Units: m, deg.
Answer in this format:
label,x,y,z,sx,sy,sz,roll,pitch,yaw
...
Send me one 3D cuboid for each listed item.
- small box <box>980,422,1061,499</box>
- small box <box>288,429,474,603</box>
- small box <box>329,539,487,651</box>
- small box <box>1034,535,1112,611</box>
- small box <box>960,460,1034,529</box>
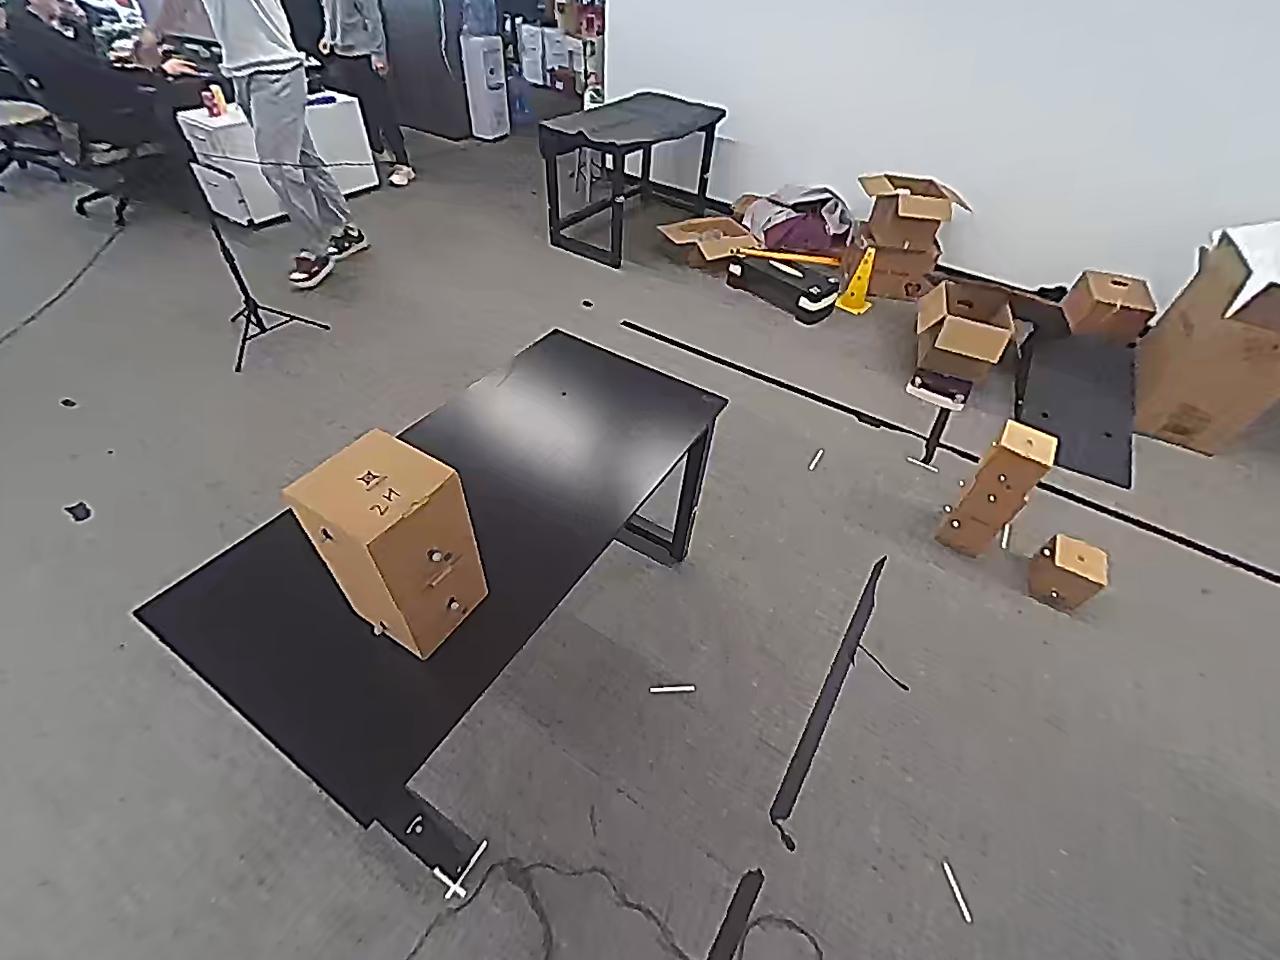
label,x,y,z,sx,sy,sz,roll,pitch,yaw
small box,1.327,-0.067,1.891,0.168,0.176,0.179,29,51,20
small box,-0.382,0.057,0.828,0.179,0.176,0.168,26,50,18
small box,-0.391,0.172,0.947,0.179,0.176,0.168,26,49,18
small box,1.582,0.342,1.981,0.168,0.176,0.179,25,50,19
small box,1.320,0.054,2.001,0.179,0.176,0.168,28,50,18
